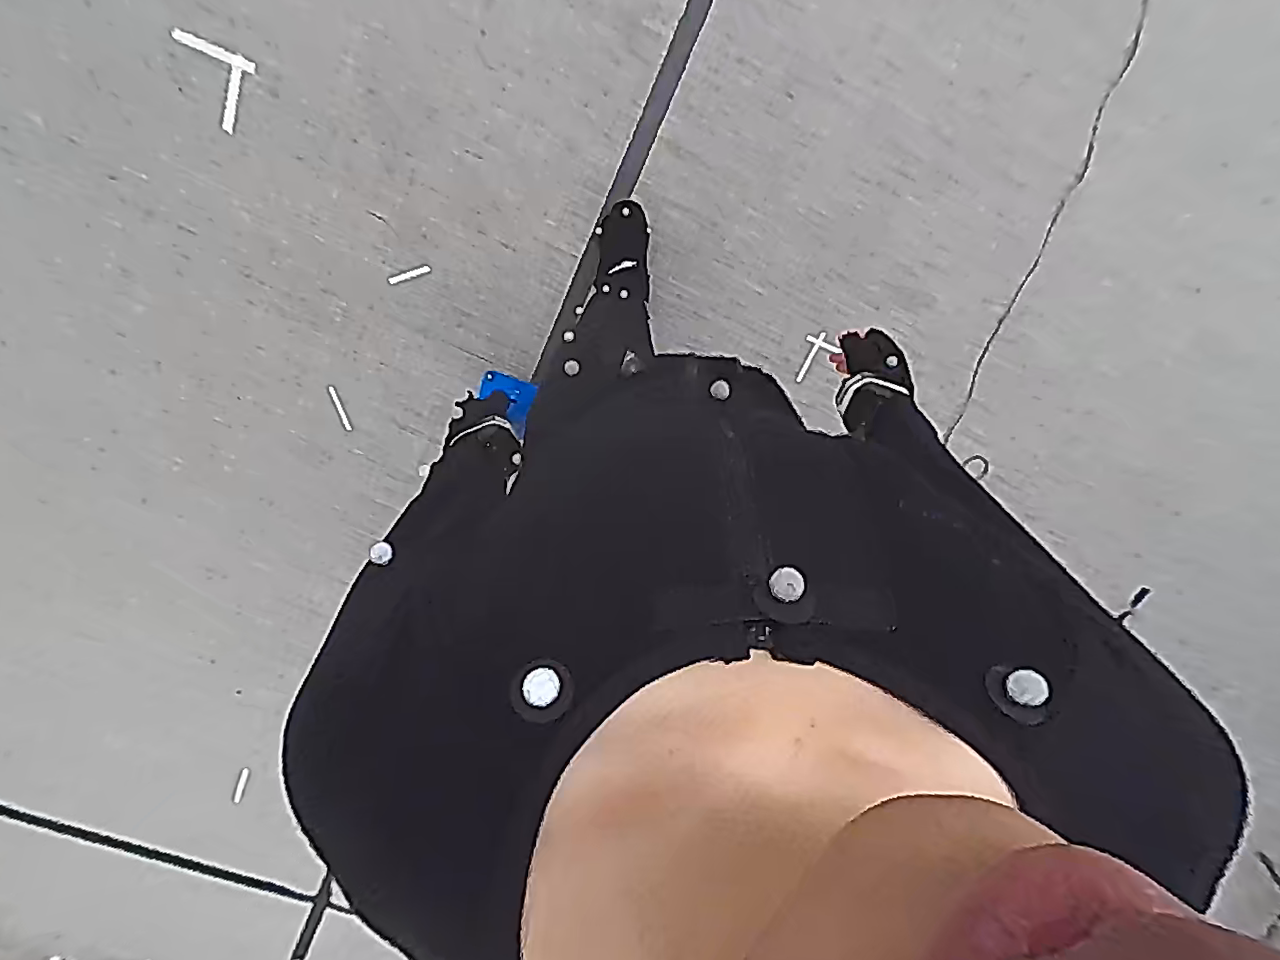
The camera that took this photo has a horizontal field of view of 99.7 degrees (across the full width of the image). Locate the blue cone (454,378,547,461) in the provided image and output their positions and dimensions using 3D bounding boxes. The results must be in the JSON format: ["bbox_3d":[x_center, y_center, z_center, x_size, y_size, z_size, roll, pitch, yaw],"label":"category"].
[{"bbox_3d":[-0.347,-0.110,1.260,0.192,0.380,0.193,20,105,-6],"label":"blue cone"}]
